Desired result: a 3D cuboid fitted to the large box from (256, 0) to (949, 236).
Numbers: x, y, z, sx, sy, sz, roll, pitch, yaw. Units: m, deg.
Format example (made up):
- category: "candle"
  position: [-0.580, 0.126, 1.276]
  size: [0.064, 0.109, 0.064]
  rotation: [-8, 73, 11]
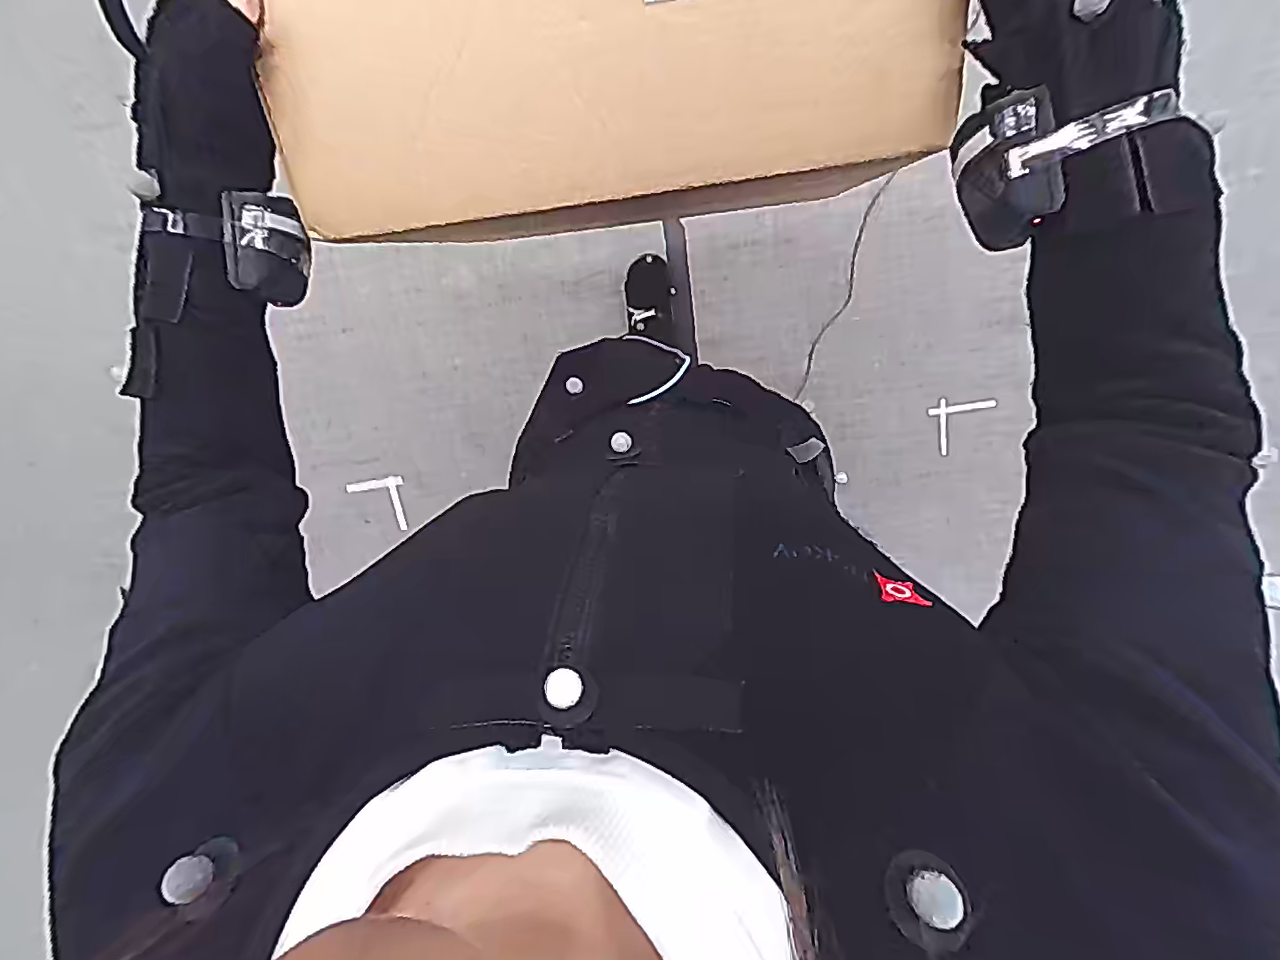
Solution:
- category: "large box"
  position: [-0.023, -0.388, 0.422]
  size: [0.408, 0.320, 0.320]
  rotation: [-4, 114, 9]
